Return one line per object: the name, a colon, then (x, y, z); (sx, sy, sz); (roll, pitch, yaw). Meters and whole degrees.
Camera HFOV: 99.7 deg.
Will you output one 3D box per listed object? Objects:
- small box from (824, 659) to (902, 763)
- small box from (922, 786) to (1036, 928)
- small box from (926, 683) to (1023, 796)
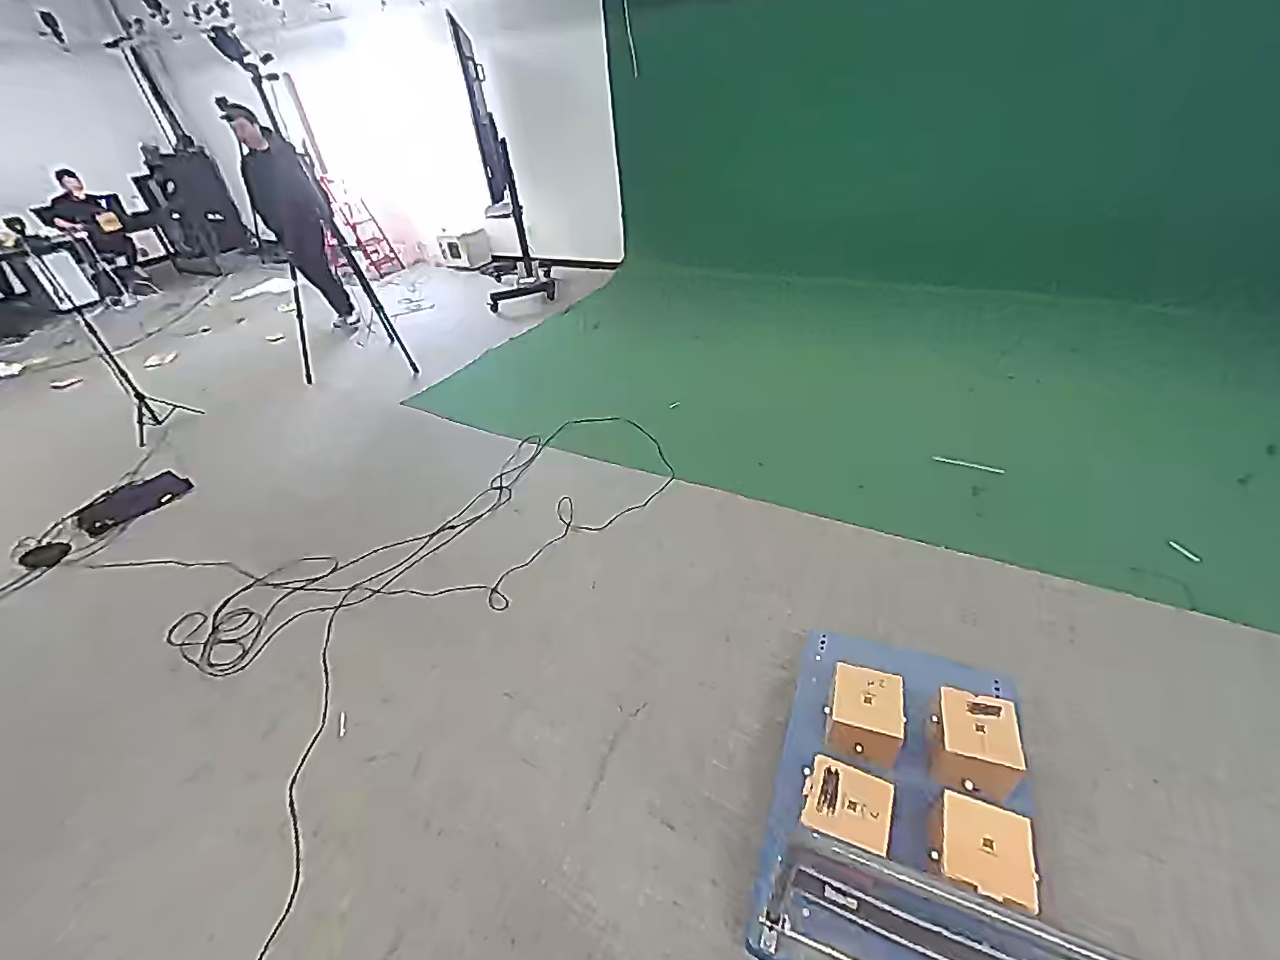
small box: (0.588, 0.613, 1.433); (0.168, 0.176, 0.179); (10, 41, 18)
small box: (0.720, 0.811, 1.166); (0.168, 0.176, 0.179); (12, 42, 21)
small box: (0.826, 0.649, 1.355); (0.168, 0.176, 0.179); (8, 41, 19)
